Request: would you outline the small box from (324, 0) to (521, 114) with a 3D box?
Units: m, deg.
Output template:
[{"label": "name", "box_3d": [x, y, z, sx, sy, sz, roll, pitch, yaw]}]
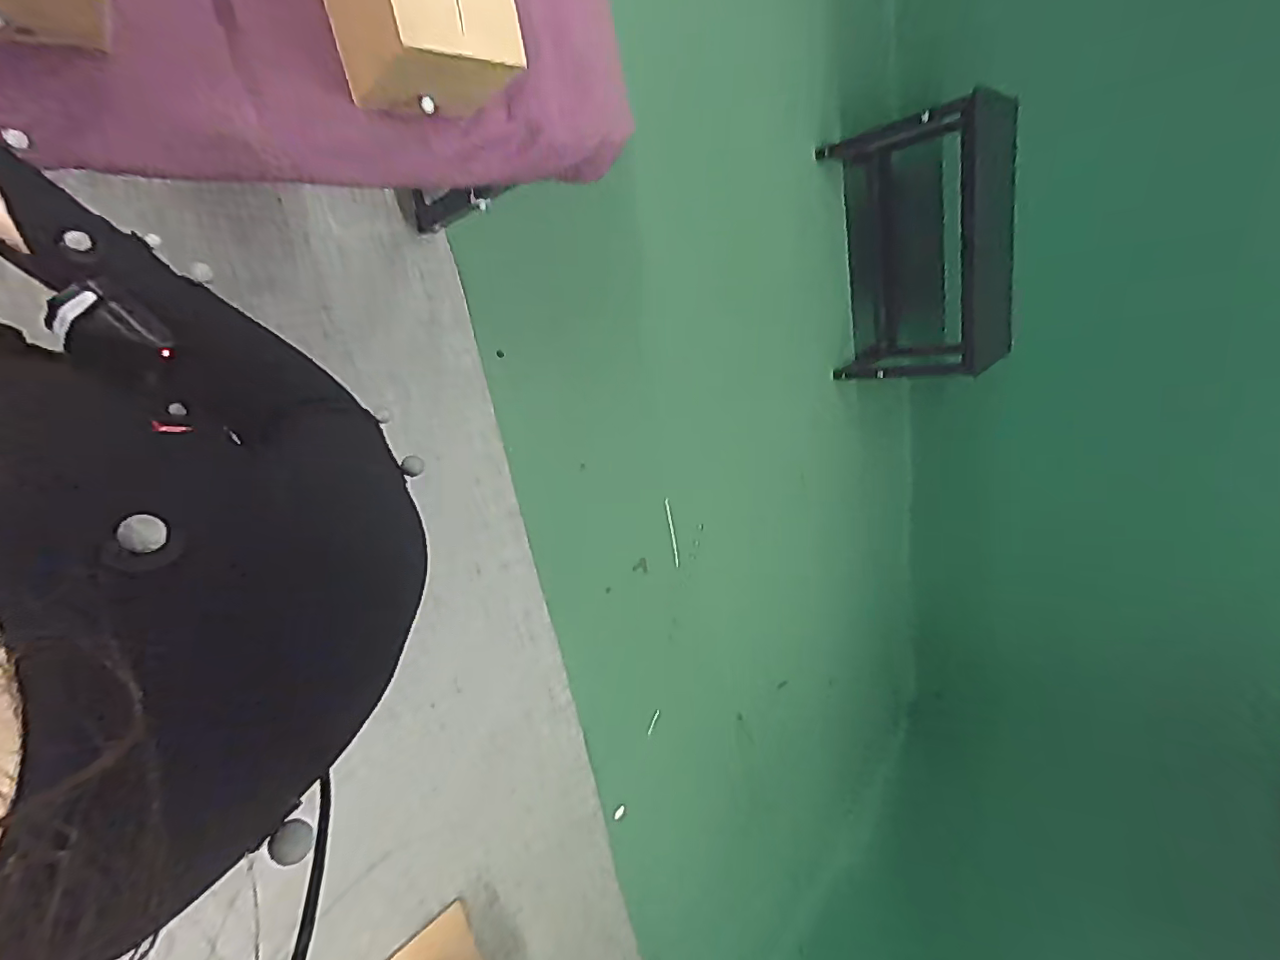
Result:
[{"label": "small box", "box_3d": [-0.278, -0.589, 0.666, 0.168, 0.176, 0.179, -26, 113, -39]}]

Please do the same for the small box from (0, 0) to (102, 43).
[{"label": "small box", "box_3d": [-0.554, -0.482, 0.406, 0.168, 0.176, 0.179, -28, 112, -38]}]
